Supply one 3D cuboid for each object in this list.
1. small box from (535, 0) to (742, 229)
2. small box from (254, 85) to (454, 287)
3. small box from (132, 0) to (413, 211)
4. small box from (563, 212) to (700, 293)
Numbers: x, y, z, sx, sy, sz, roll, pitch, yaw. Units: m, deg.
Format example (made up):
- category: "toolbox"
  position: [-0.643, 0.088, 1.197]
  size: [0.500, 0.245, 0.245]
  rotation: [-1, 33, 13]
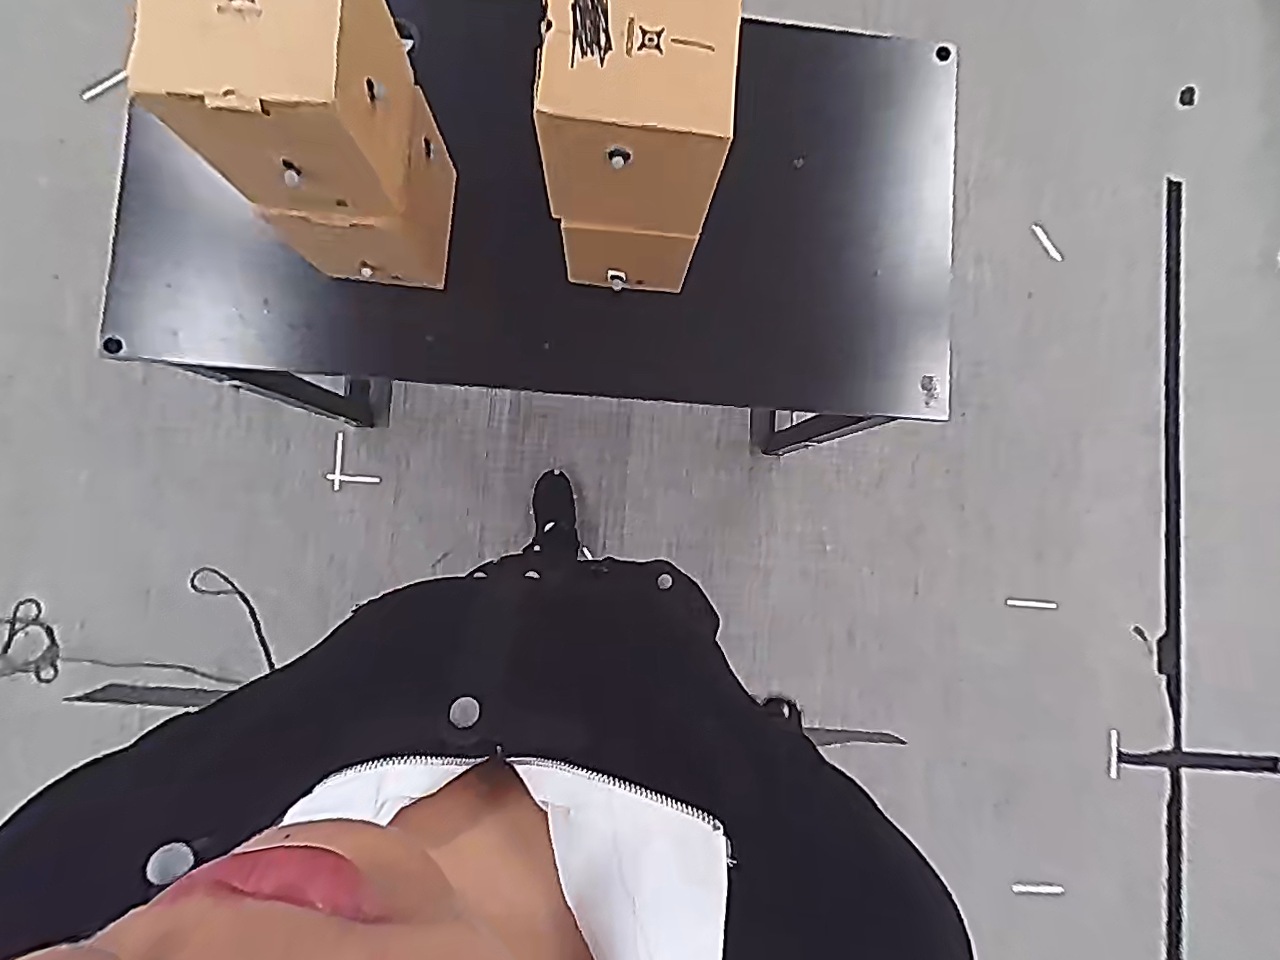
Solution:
- category: "small box"
  position: [-0.003, -0.383, 0.557]
  size: [0.179, 0.176, 0.168]
  rotation: [5, 86, -4]
- category: "small box"
  position: [-0.347, -0.373, 0.692]
  size: [0.168, 0.176, 0.179]
  rotation: [5, 86, -4]
- category: "small box"
  position: [-0.336, -0.392, 0.529]
  size: [0.168, 0.176, 0.179]
  rotation: [3, 87, -5]
- category: "small box"
  position: [-0.011, -0.373, 0.722]
  size: [0.168, 0.176, 0.179]
  rotation: [3, 87, -3]
